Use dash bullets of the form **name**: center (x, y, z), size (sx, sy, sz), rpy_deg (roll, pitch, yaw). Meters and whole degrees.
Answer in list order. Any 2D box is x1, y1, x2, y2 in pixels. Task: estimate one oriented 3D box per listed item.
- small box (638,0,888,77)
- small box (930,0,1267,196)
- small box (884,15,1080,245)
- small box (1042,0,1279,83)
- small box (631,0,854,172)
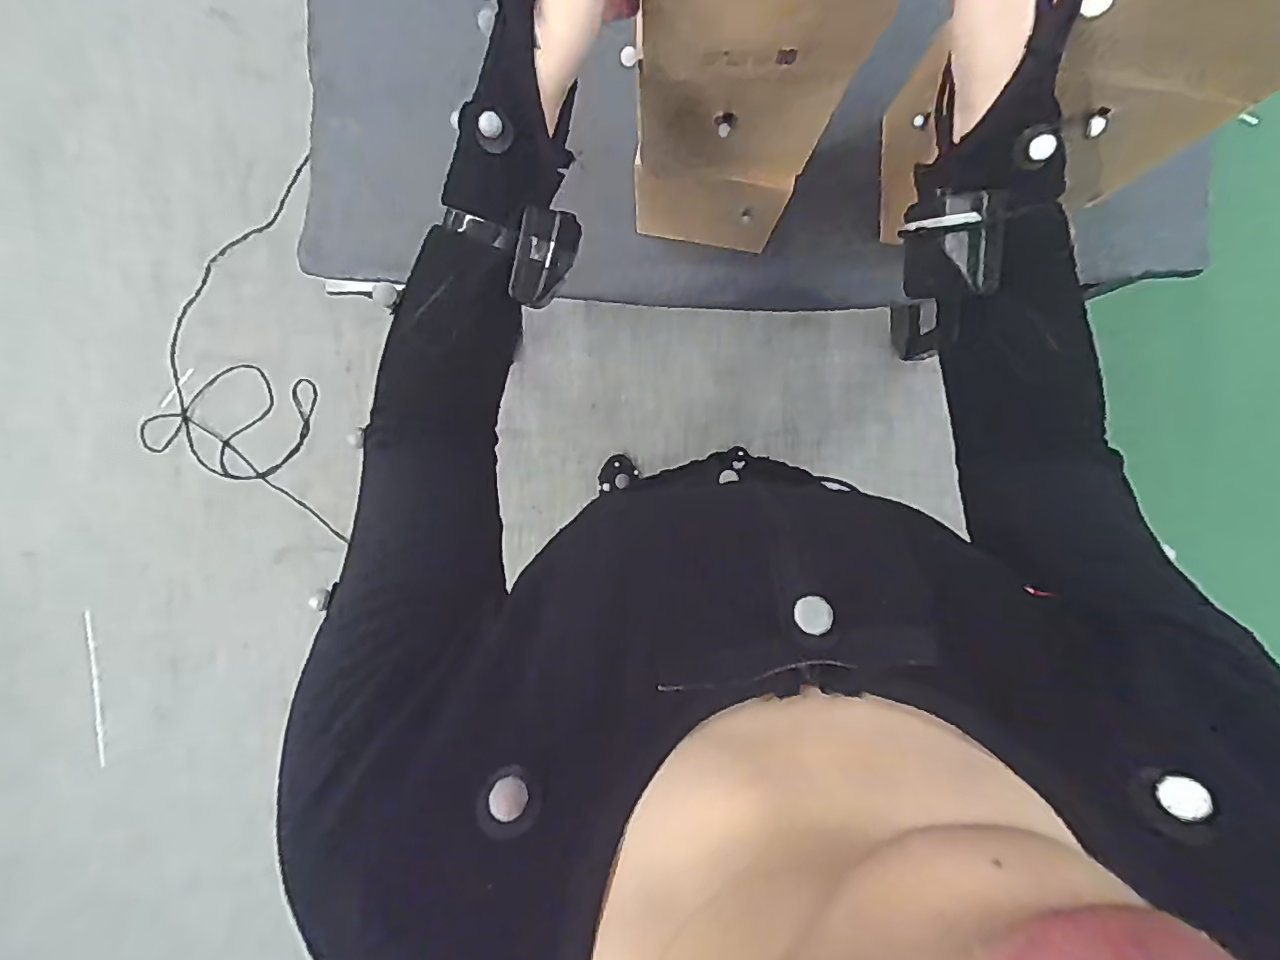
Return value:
- **small box**: center (0.080, -0.392, 0.329), size (0.168, 0.176, 0.179), rpy_deg (-1, 91, 2)
- **small box**: center (0.401, -0.384, 0.485), size (0.179, 0.176, 0.168), rpy_deg (11, 92, 3)
- **small box**: center (0.407, -0.403, 0.647), size (0.168, 0.176, 0.179), rpy_deg (0, 92, 3)
- **small box**: center (0.398, -0.382, 0.320), size (0.179, 0.176, 0.168), rpy_deg (13, 92, 2)
- **small box**: center (0.083, -0.406, 0.492), size (0.179, 0.176, 0.168), rpy_deg (0, 91, 2)
